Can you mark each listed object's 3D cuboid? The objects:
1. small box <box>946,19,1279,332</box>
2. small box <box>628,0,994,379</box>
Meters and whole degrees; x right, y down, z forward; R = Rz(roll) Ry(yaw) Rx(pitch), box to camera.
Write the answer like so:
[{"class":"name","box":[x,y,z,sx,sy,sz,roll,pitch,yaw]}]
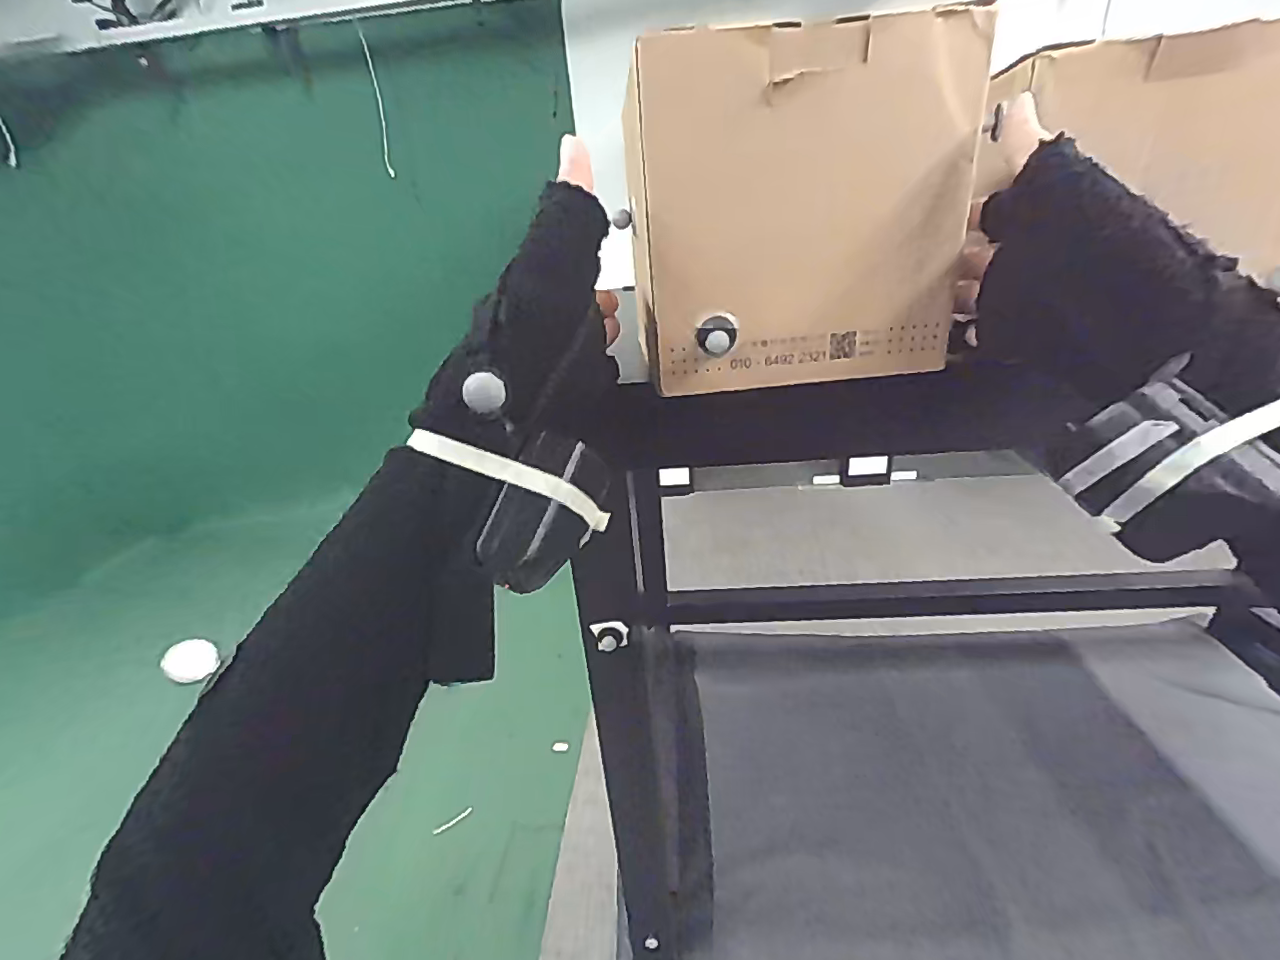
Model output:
[{"class":"small box","box":[0.338,-0.211,0.408,0.168,0.176,0.179,1,25,12]},{"class":"small box","box":[0.084,-0.165,0.350,0.168,0.176,0.179,-6,23,-1]}]
